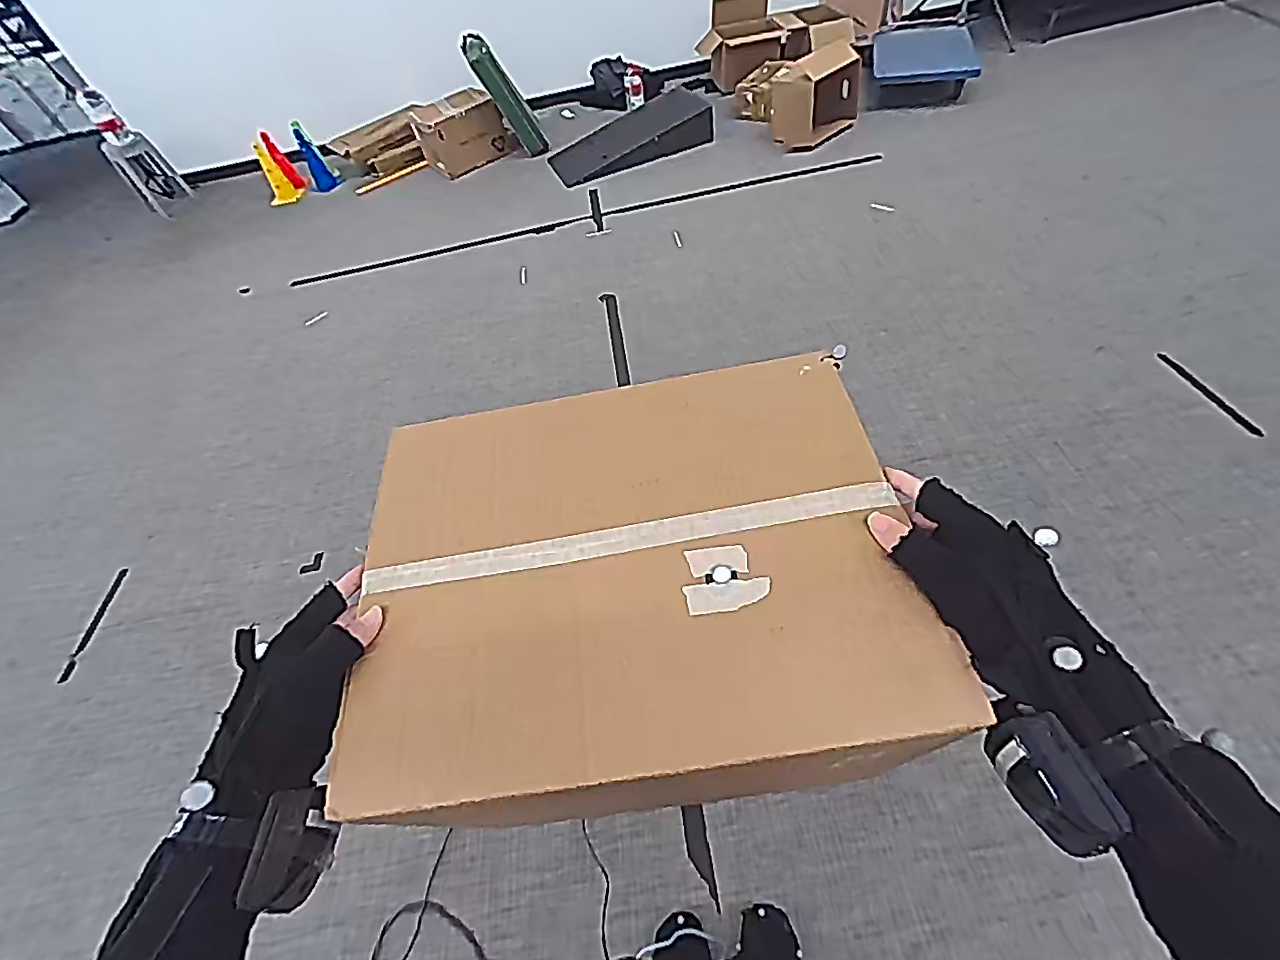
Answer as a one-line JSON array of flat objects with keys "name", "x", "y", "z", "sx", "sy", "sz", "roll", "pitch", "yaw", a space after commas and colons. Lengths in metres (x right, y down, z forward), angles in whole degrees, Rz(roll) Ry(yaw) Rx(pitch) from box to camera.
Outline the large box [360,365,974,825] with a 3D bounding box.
[{"name": "large box", "x": 0.013, "y": 0.133, "z": 0.544, "sx": 0.408, "sy": 0.320, "sz": 0.320, "roll": -10, "pitch": 56, "yaw": 2}]
